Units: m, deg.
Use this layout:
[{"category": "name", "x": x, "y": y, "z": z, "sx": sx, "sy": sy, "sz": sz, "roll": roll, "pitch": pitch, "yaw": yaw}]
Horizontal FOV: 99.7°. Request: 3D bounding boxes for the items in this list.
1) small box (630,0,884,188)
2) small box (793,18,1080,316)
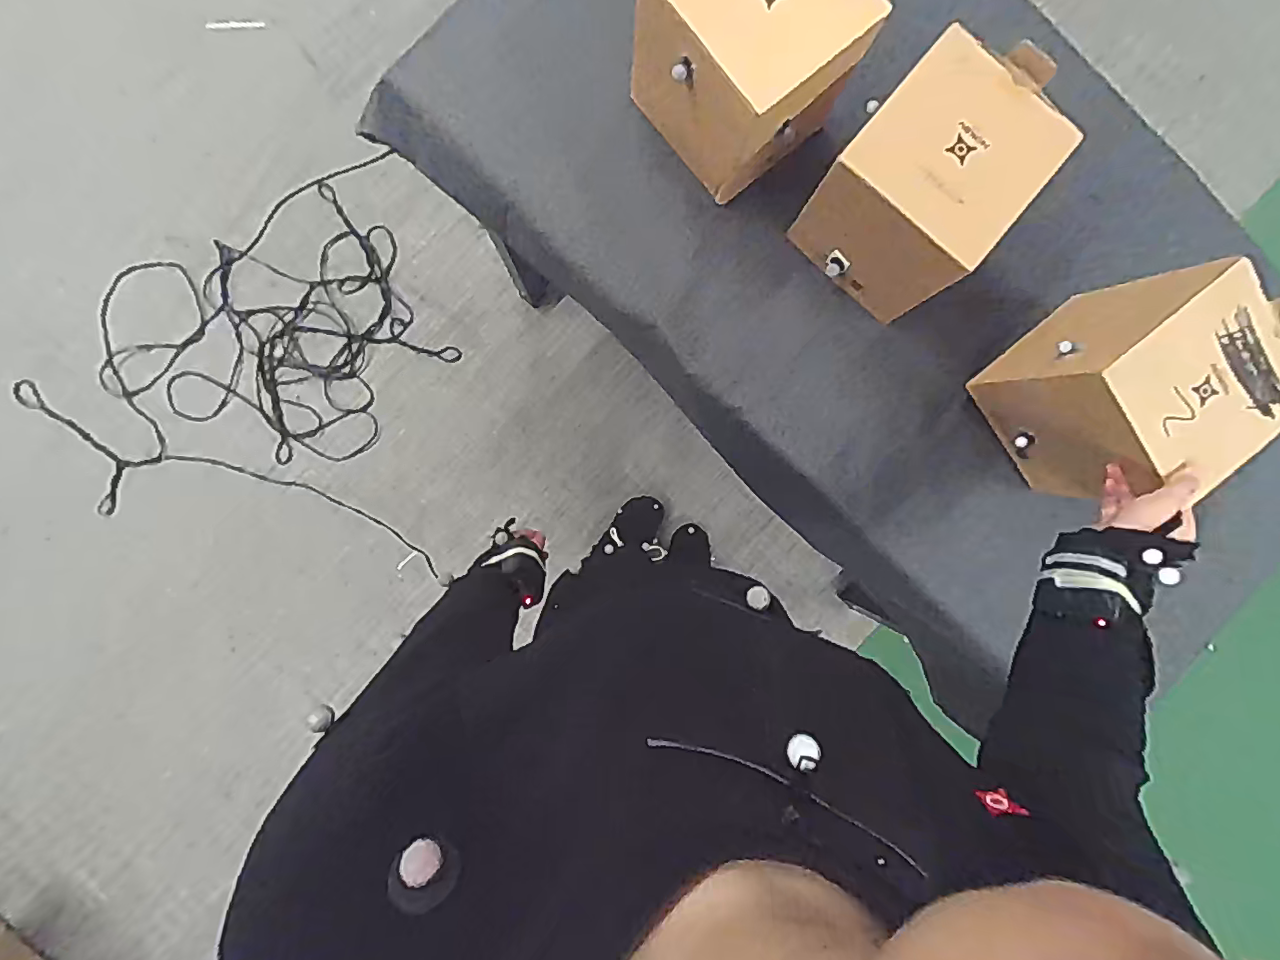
[{"category": "small box", "x": 0.106, "y": -0.446, "z": 0.570, "sx": 0.168, "sy": 0.176, "sz": 0.179, "roll": -41, "pitch": 91, "yaw": -3}, {"category": "small box", "x": 0.294, "y": -0.312, "z": 0.579, "sx": 0.168, "sy": 0.176, "sz": 0.179, "roll": 38, "pitch": 88, "yaw": -1}]
